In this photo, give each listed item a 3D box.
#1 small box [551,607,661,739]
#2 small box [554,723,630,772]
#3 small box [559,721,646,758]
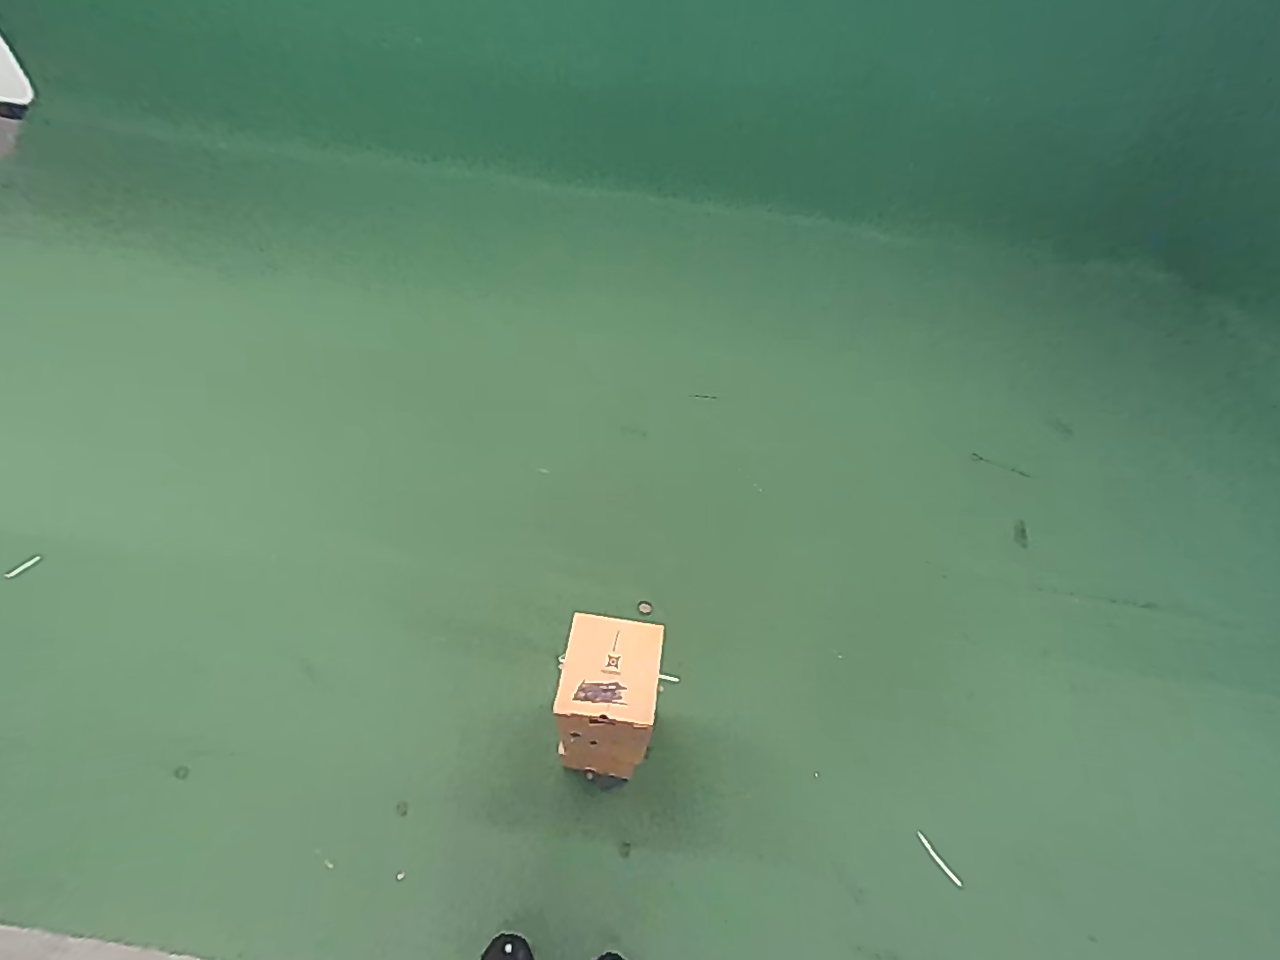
[{"bbox_3d":[-0.058,0.357,0.987,0.168,0.176,0.179,9,53,1],"label":"small box"},{"bbox_3d":[-0.090,0.543,1.233,0.168,0.176,0.179,10,54,4],"label":"small box"},{"bbox_3d":[-0.068,0.454,1.120,0.168,0.176,0.179,9,52,2],"label":"small box"}]
